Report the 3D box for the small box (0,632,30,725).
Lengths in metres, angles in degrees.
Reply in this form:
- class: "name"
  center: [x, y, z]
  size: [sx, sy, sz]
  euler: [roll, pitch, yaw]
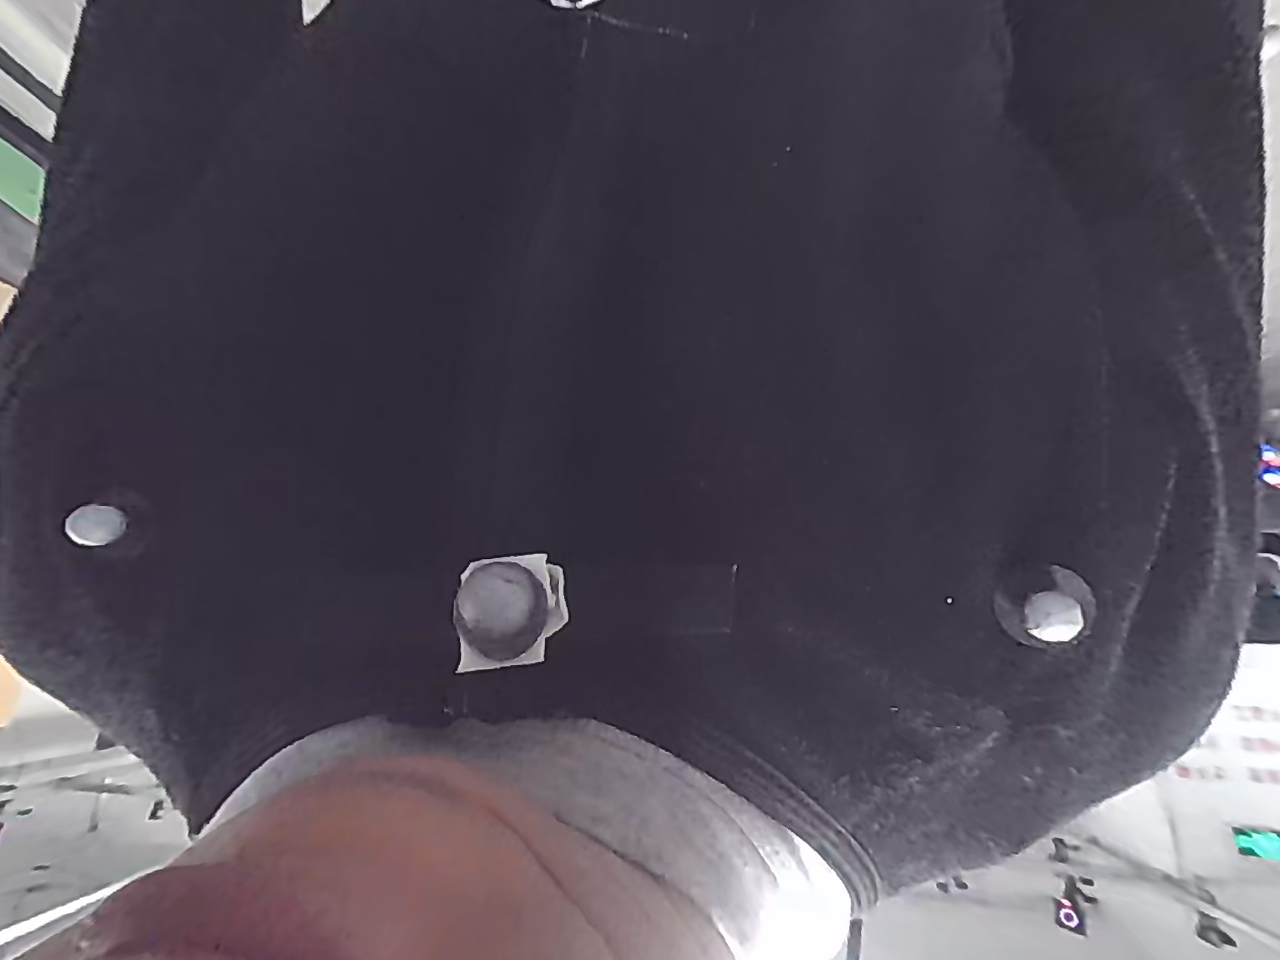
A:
- class: "small box"
  center: [-1.260, 0.355, 0.953]
  size: [0.168, 0.176, 0.179]
  euler: [-1, 165, 0]
